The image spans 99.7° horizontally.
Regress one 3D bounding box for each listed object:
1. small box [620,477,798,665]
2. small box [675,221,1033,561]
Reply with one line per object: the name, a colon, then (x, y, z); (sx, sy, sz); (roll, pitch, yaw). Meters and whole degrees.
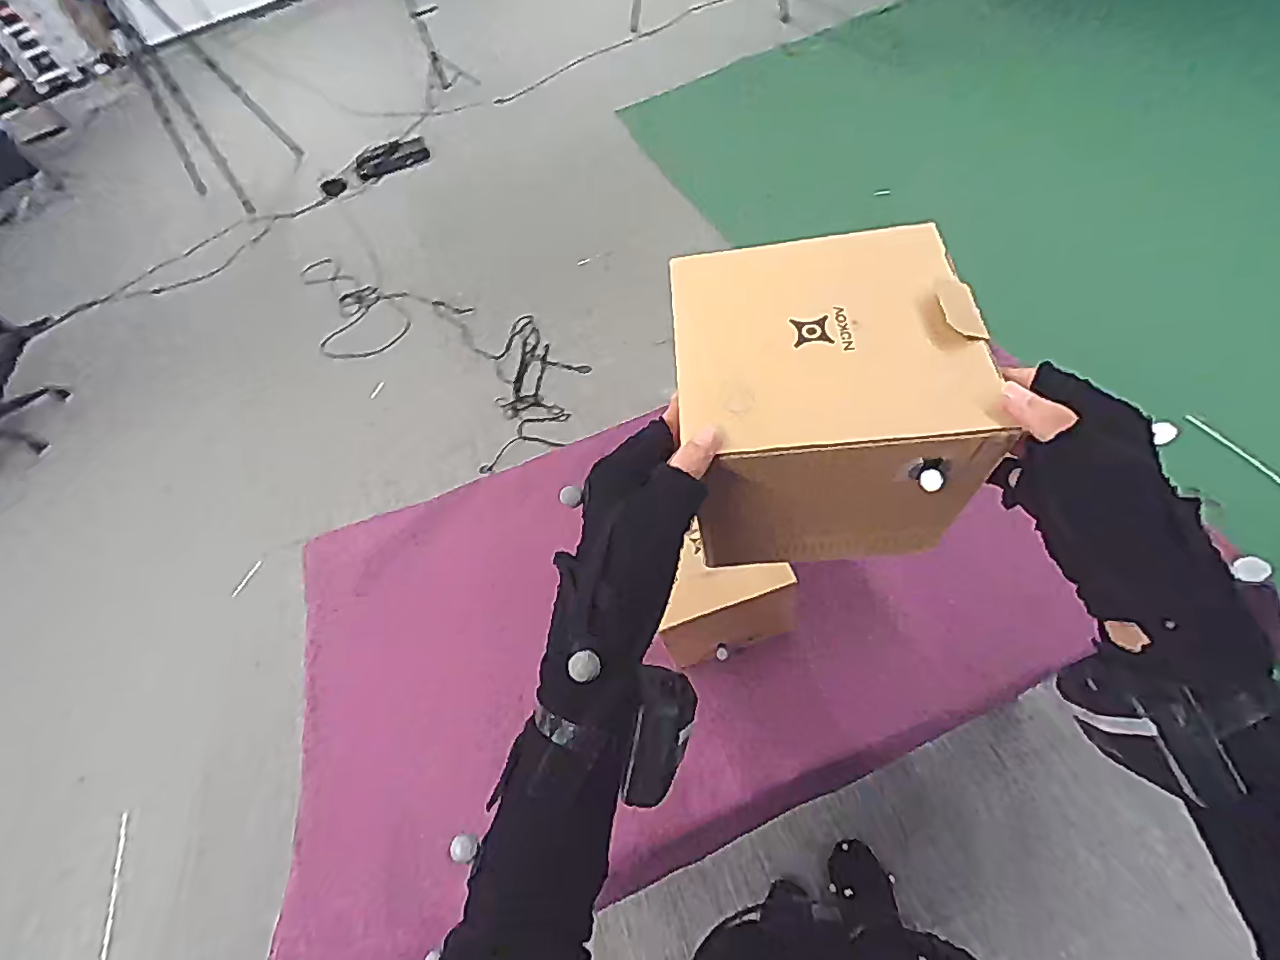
small box: (0.087, 0.112, 0.696); (0.168, 0.176, 0.179); (-20, 55, 1)
small box: (0.123, -0.048, 0.386); (0.179, 0.176, 0.168); (-5, 60, 7)
